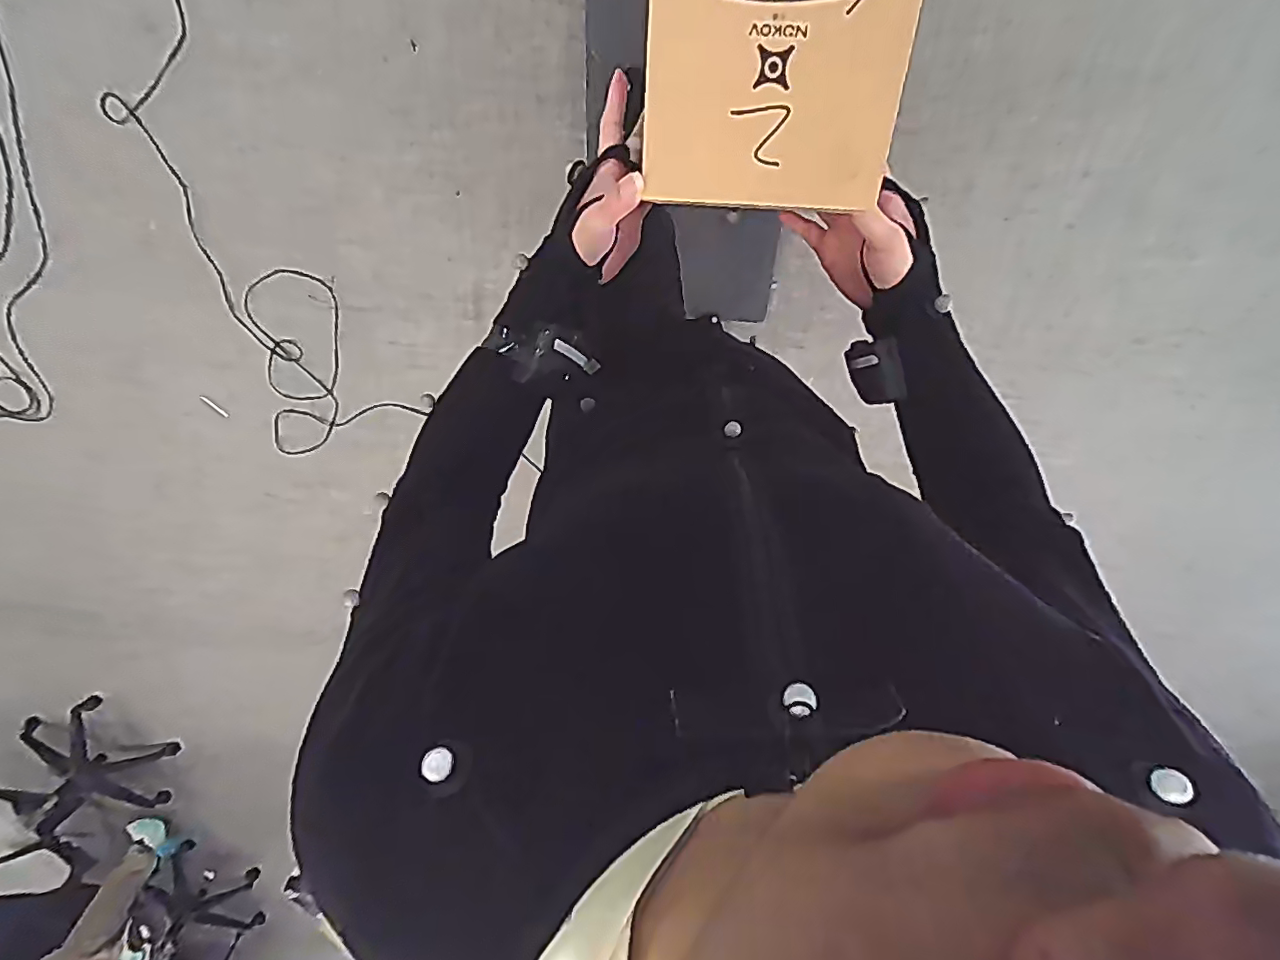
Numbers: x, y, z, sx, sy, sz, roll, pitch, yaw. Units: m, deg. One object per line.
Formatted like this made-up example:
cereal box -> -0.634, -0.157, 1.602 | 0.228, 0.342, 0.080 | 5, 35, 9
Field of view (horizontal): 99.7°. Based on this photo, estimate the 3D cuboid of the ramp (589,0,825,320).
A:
ramp -> 0.130, -0.864, 1.202 | 0.509, 0.206, 0.991 | 3, 114, 3
